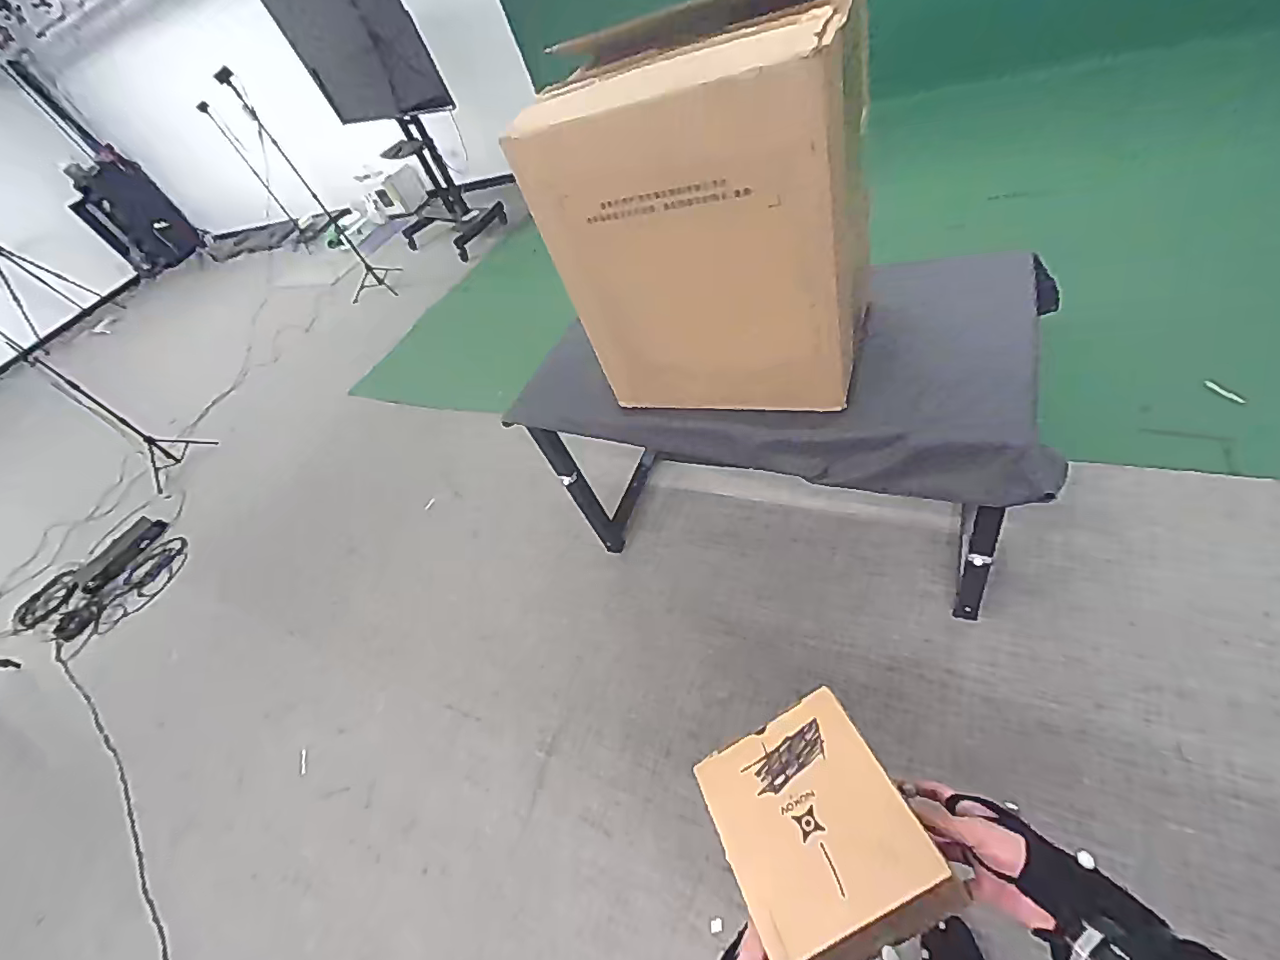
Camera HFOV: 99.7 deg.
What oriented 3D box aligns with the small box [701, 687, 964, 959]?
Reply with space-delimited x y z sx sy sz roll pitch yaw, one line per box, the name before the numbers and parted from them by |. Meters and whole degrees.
small box | 0.190 0.352 0.545 0.168 0.176 0.179 -33 39 5
